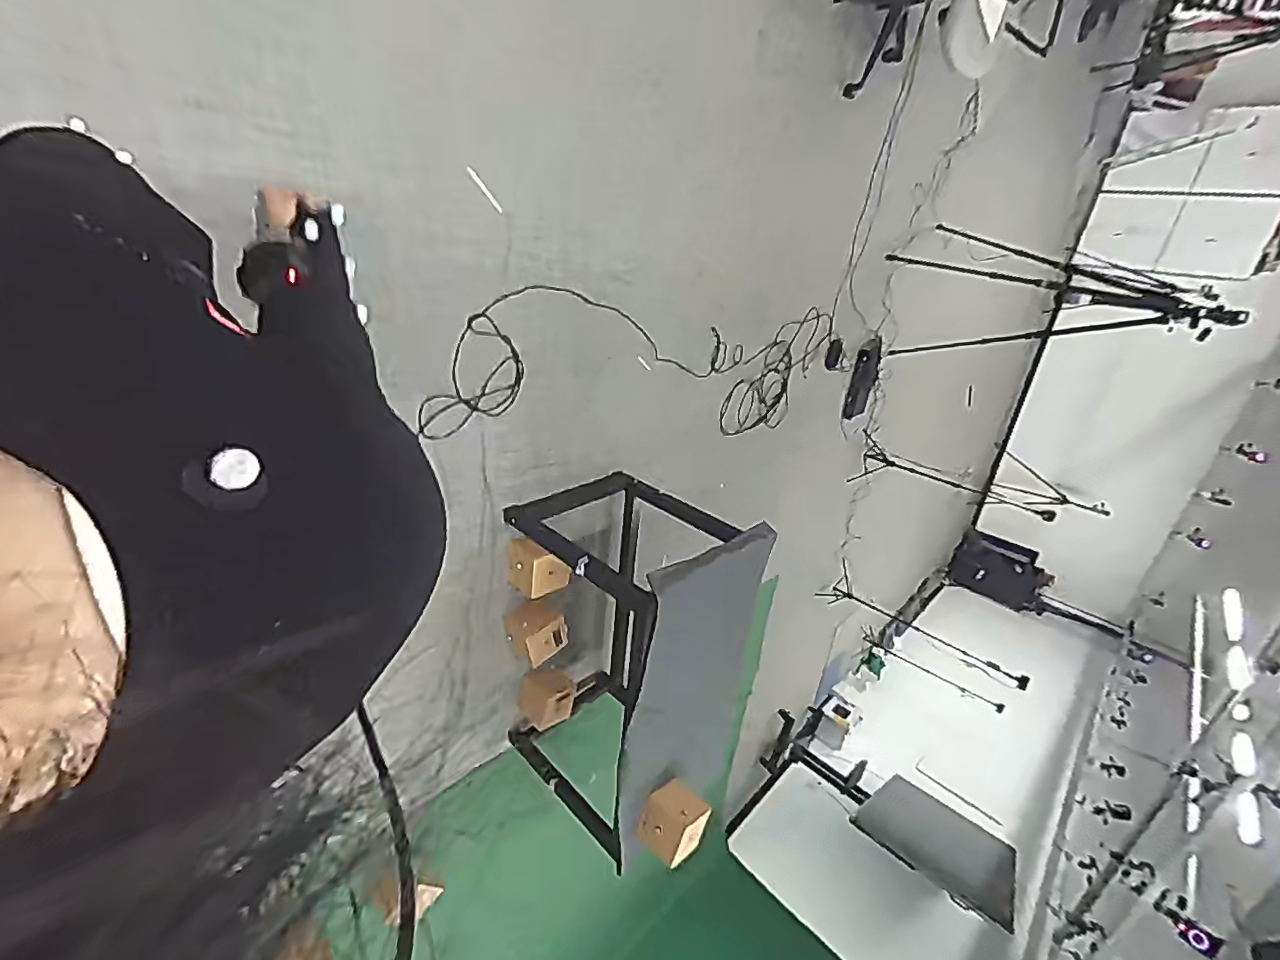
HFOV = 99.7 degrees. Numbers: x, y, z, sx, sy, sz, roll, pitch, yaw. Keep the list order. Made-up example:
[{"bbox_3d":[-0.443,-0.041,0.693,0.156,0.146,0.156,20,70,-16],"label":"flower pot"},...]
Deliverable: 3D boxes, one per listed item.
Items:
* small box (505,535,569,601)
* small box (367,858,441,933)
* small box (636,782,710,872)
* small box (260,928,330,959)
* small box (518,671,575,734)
[{"bbox_3d":[-0.390,0.324,2.029,0.179,0.176,0.168,-15,120,-45],"label":"small box"},{"bbox_3d":[-0.927,1.628,2.121,0.168,0.176,0.179,-47,140,-21],"label":"small box"},{"bbox_3d":[0.114,1.215,1.908,0.179,0.176,0.168,8,104,-53],"label":"small box"},{"bbox_3d":[-1.199,1.690,1.839,0.179,0.176,0.168,31,86,-53],"label":"small box"},{"bbox_3d":[-0.411,0.955,2.347,0.168,0.176,0.179,-3,113,-48],"label":"small box"}]
